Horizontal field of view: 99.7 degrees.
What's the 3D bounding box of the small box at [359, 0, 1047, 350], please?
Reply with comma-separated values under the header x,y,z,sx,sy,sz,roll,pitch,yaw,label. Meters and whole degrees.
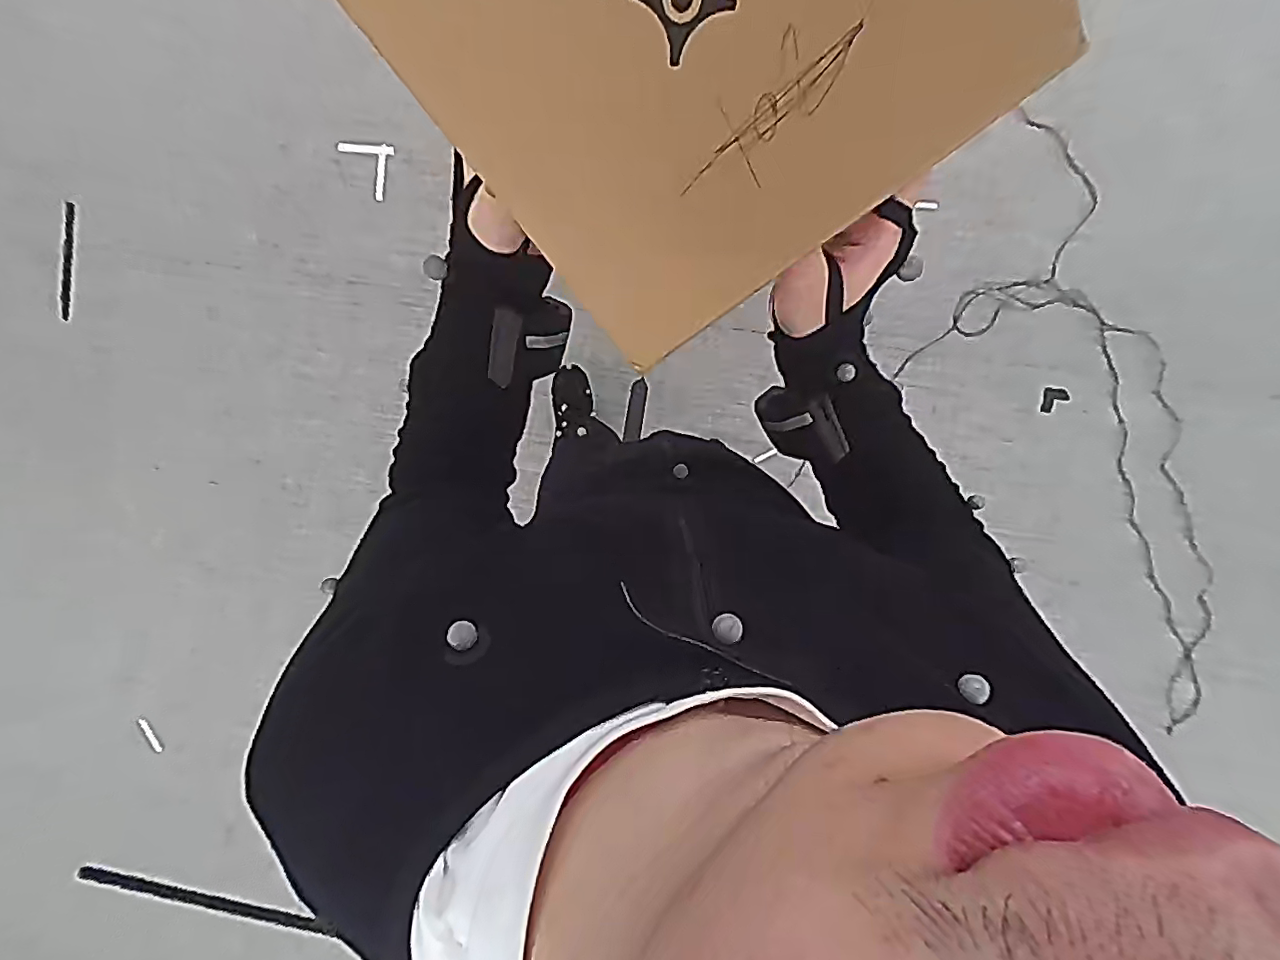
x,y,z,sx,sy,sz,roll,pitch,yaw,label
0.019,-0.193,0.234,0.168,0.176,0.179,-31,114,25,small box
